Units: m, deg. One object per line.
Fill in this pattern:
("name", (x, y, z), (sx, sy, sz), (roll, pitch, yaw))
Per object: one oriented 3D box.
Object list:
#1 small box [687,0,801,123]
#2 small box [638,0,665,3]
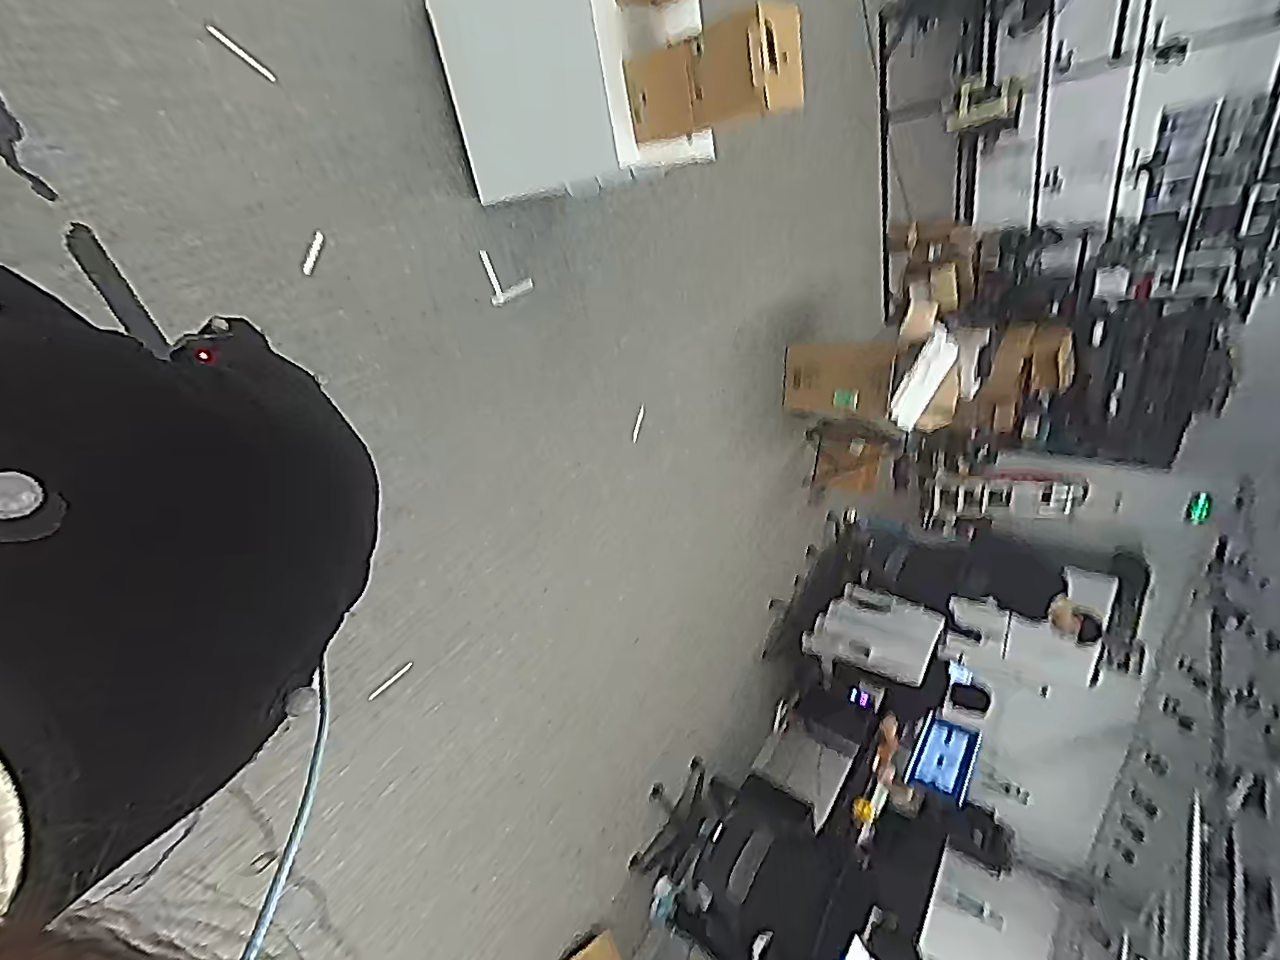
("small box", (0.210, -0.851, 1.108), (0.179, 0.176, 0.168), (-38, 126, -39))
("small box", (0.041, -1.109, 1.099), (0.179, 0.176, 0.168), (-35, 125, -40))
